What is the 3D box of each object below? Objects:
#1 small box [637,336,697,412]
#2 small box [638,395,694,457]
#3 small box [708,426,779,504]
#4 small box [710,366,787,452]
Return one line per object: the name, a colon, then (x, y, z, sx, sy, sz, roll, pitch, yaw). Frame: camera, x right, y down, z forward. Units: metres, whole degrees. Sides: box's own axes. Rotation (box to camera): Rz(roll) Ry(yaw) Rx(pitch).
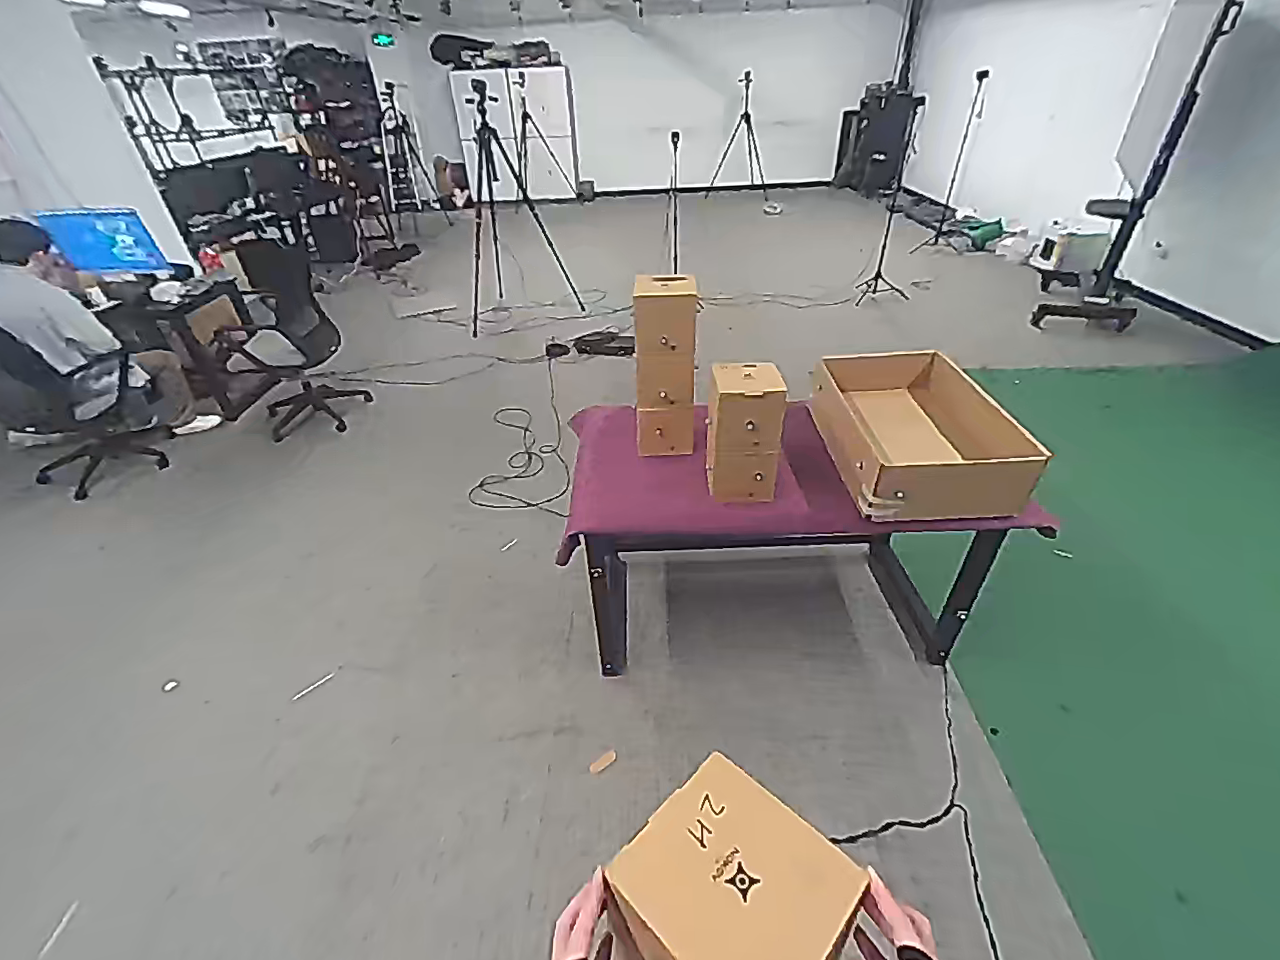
small box: (0.081, -0.315, 1.592, 0.168, 0.176, 0.179, 0, 37, 4)
small box: (0.080, -0.180, 1.687, 0.168, 0.176, 0.179, -3, 35, 1)
small box: (0.278, -0.046, 1.488, 0.168, 0.176, 0.179, -1, 35, 2)
small box: (0.273, -0.181, 1.395, 0.168, 0.176, 0.179, -1, 36, 1)
